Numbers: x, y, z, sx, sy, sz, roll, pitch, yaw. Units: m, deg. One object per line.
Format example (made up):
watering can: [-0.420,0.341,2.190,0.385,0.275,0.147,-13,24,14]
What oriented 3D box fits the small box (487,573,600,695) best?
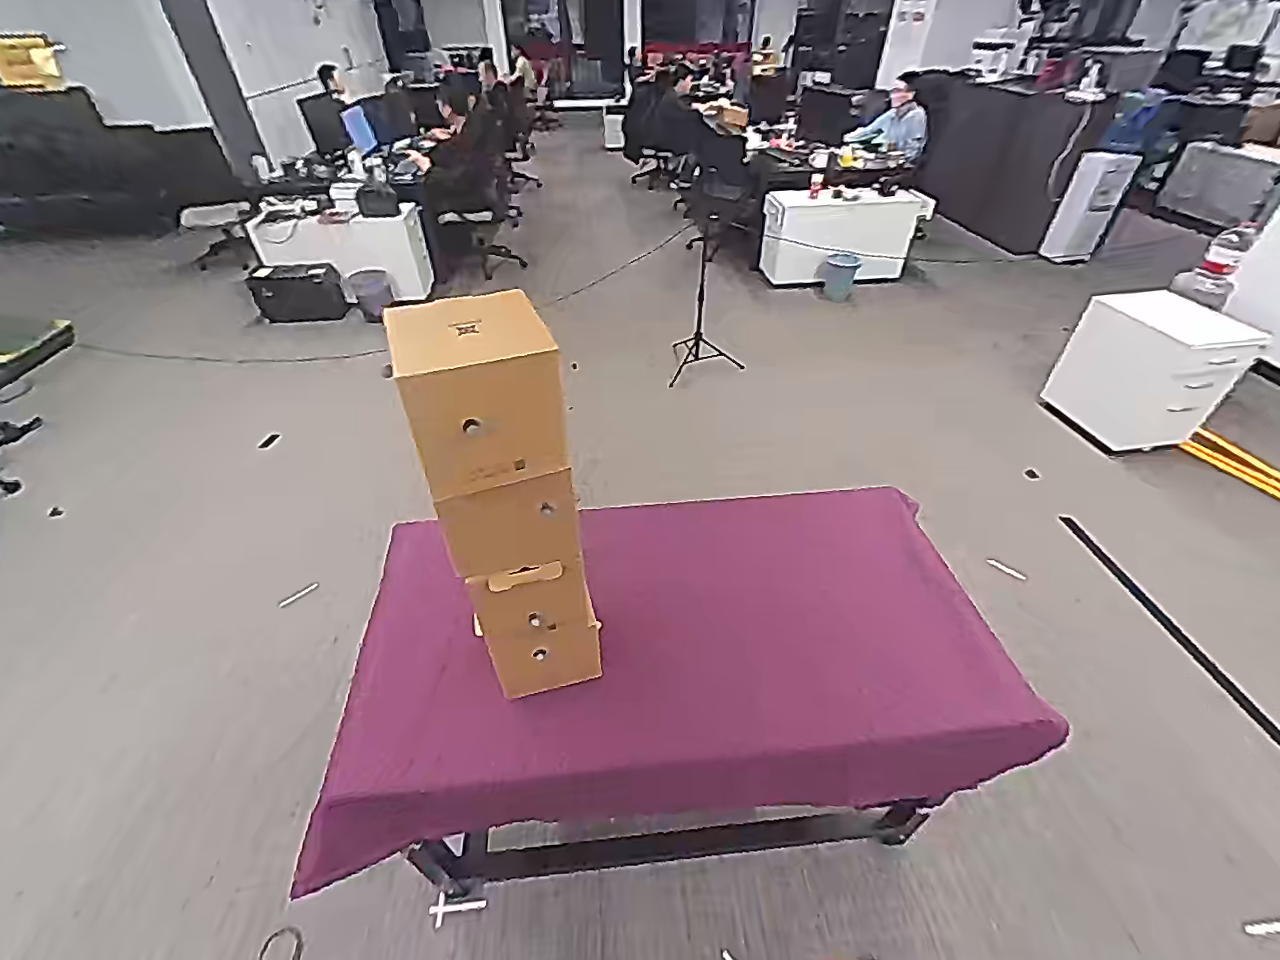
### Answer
small box: [-0.176,0.263,0.978,0.179,0.176,0.168,-10,42,-12]

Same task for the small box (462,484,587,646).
small box: [-0.185,0.136,0.874,0.168,0.176,0.179,-11,42,-12]

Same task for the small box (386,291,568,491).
small box: [-0.191,-0.104,0.650,0.168,0.176,0.179,-15,42,-18]
